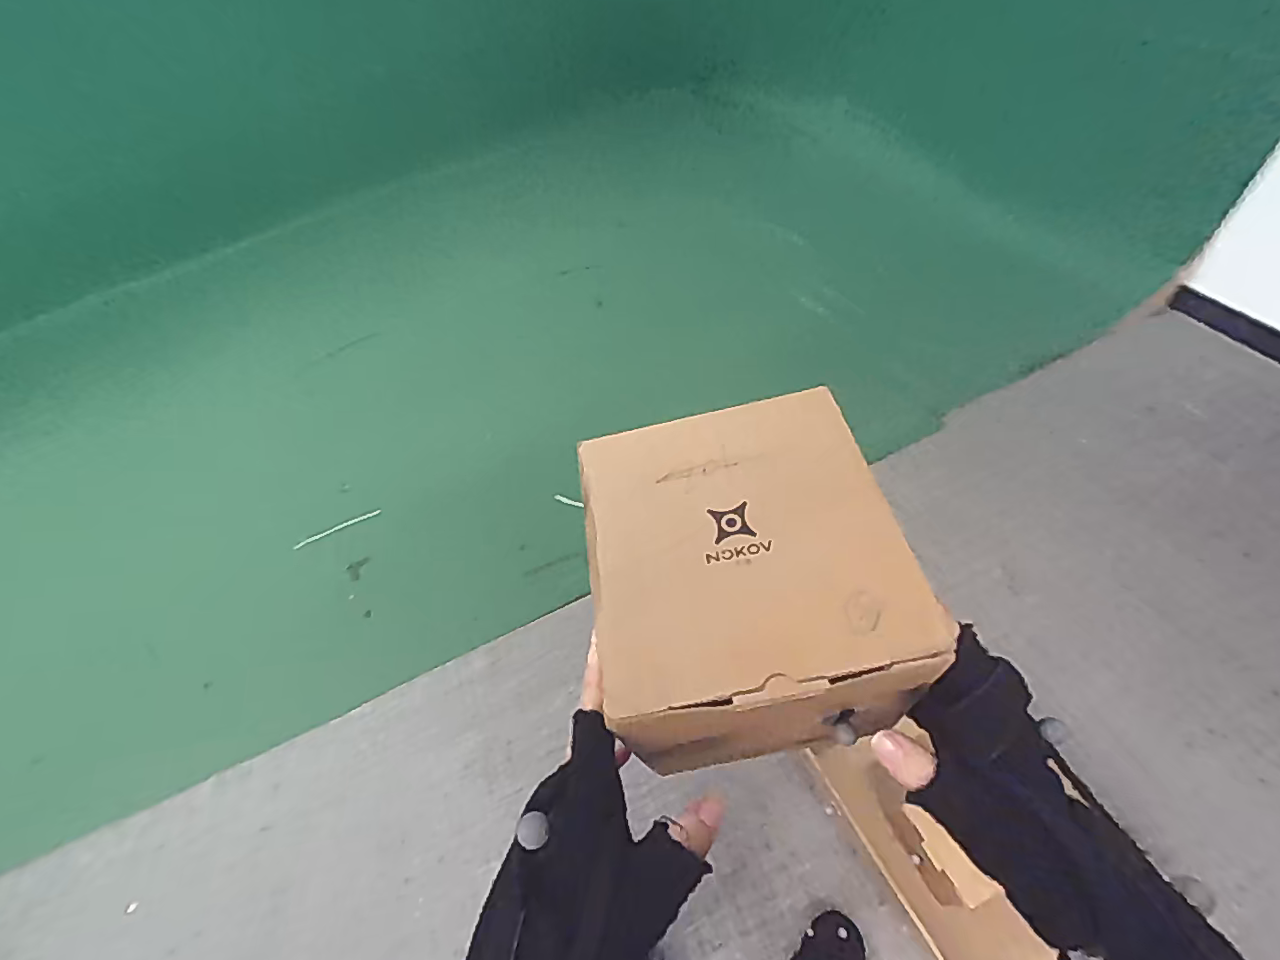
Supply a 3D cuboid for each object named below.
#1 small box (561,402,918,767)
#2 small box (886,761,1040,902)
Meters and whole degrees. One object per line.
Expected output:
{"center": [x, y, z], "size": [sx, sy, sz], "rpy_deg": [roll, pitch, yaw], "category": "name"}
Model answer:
{"center": [0.053, 0.081, 0.366], "size": [0.168, 0.176, 0.179], "rpy_deg": [-13, 53, 2], "category": "small box"}
{"center": [0.590, 0.664, 1.022], "size": [0.179, 0.176, 0.168], "rpy_deg": [-24, 53, -6], "category": "small box"}
